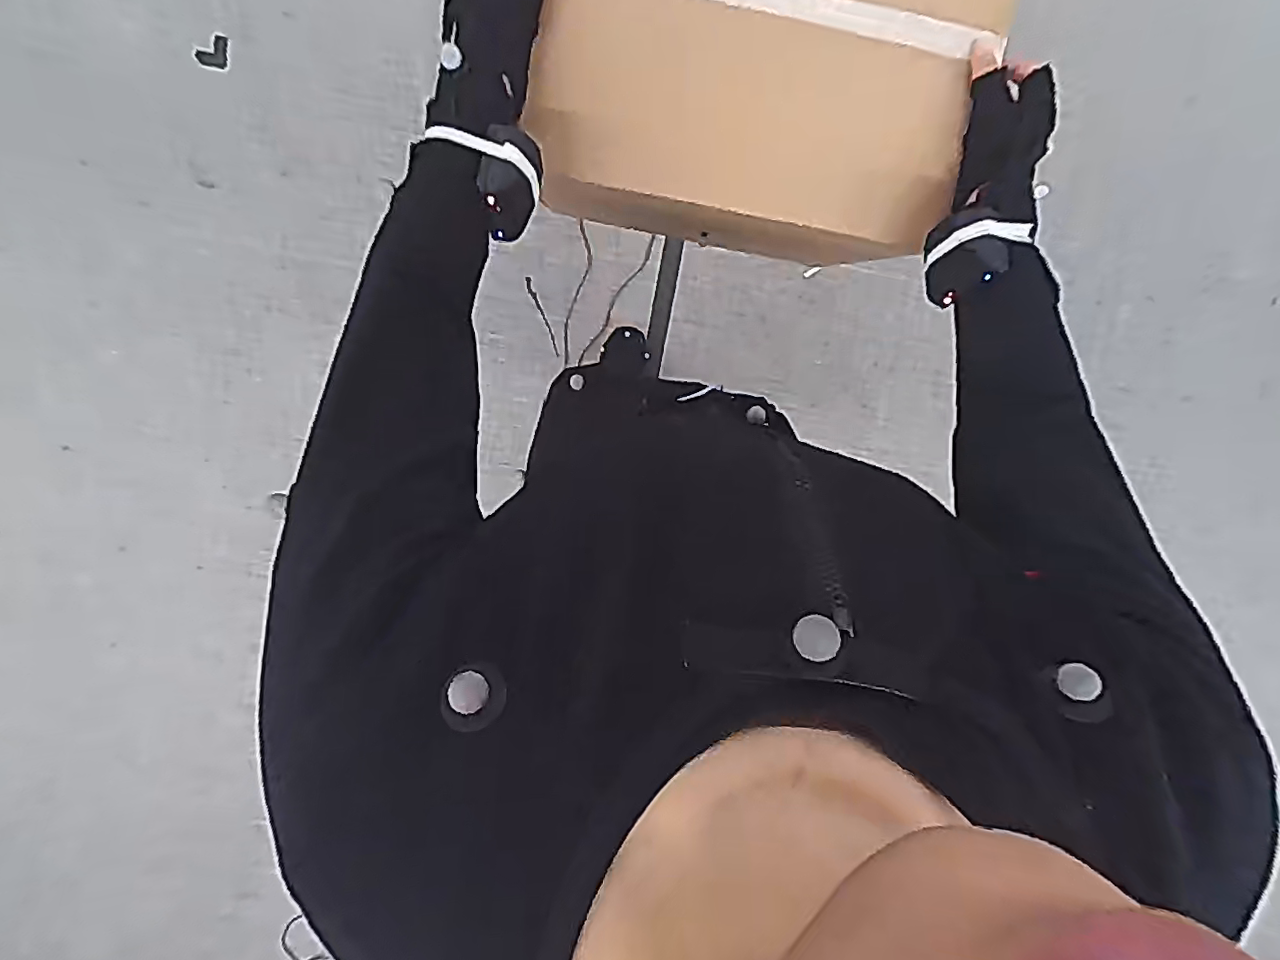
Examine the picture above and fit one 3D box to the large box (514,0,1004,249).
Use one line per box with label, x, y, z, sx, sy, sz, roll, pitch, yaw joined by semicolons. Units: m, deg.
large box;0.103;-0.454;0.591;0.408;0.320;0.320;9;108;-5
